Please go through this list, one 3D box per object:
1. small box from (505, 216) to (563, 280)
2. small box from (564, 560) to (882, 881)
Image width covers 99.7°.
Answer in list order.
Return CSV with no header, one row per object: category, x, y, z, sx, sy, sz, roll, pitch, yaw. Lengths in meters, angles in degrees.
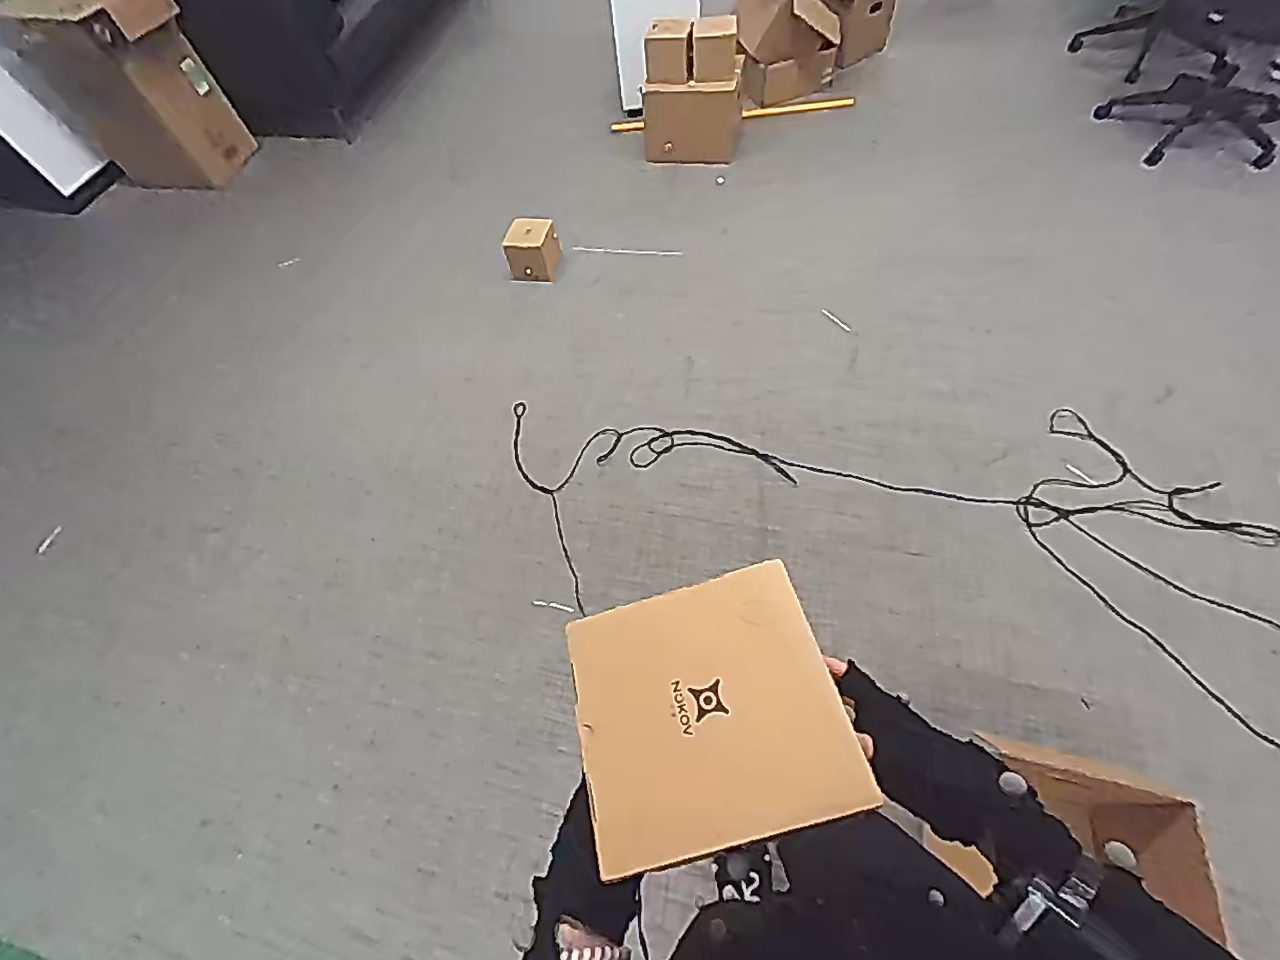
small box,-0.423,-0.943,2.201,0.168,0.176,0.179,7,61,11
small box,0.058,0.188,0.423,0.179,0.176,0.168,-18,55,4
